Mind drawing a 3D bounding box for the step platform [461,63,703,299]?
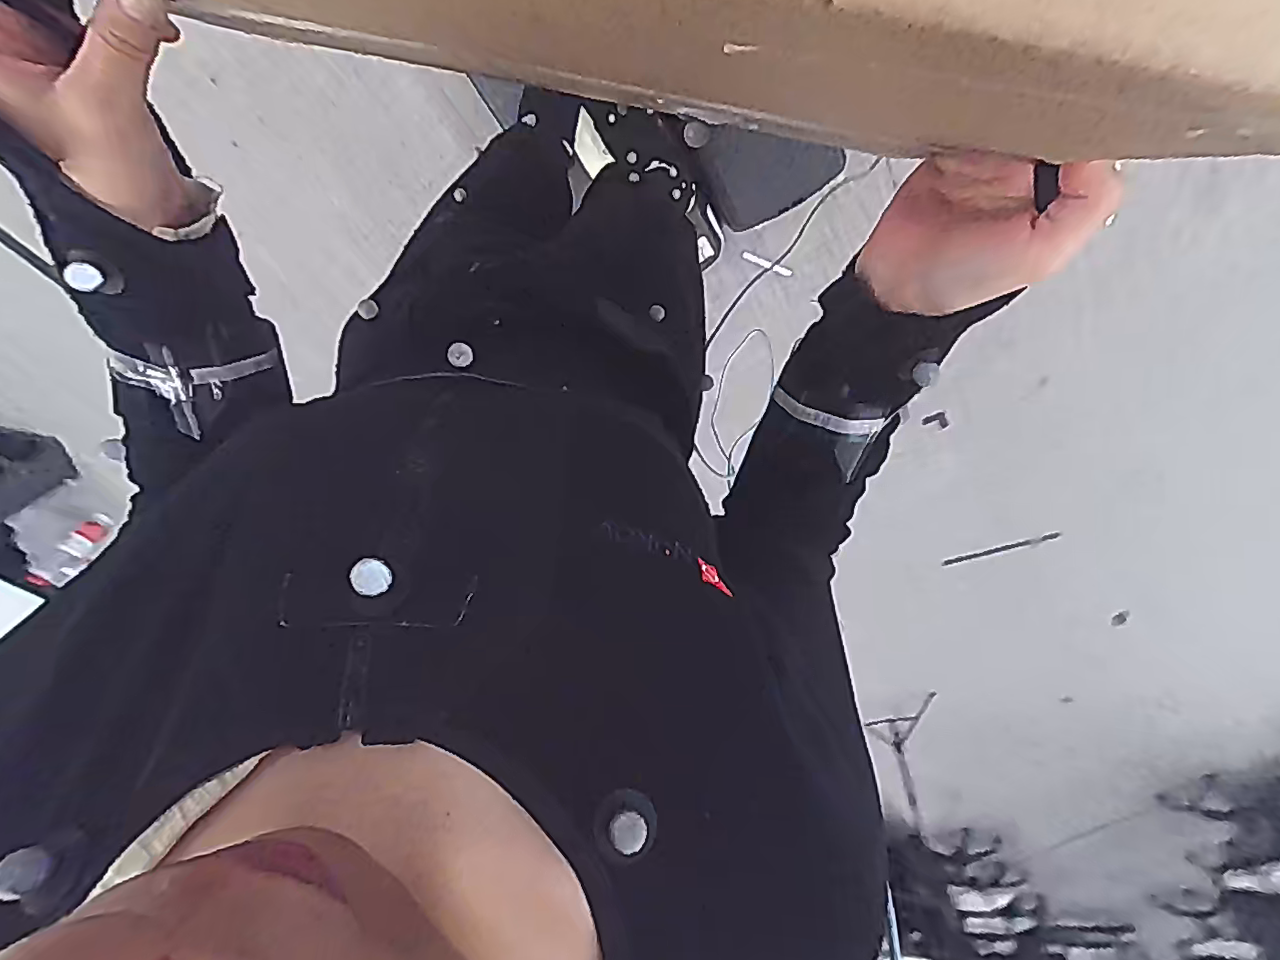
[{"bbox_3d":[-0.117,-0.733,1.124,0.286,0.204,0.684,-18,128,21],"label":"step platform"}]

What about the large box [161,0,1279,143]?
[{"bbox_3d":[-0.024,-0.305,0.137,0.408,0.320,0.320,9,122,-3],"label":"large box"}]
